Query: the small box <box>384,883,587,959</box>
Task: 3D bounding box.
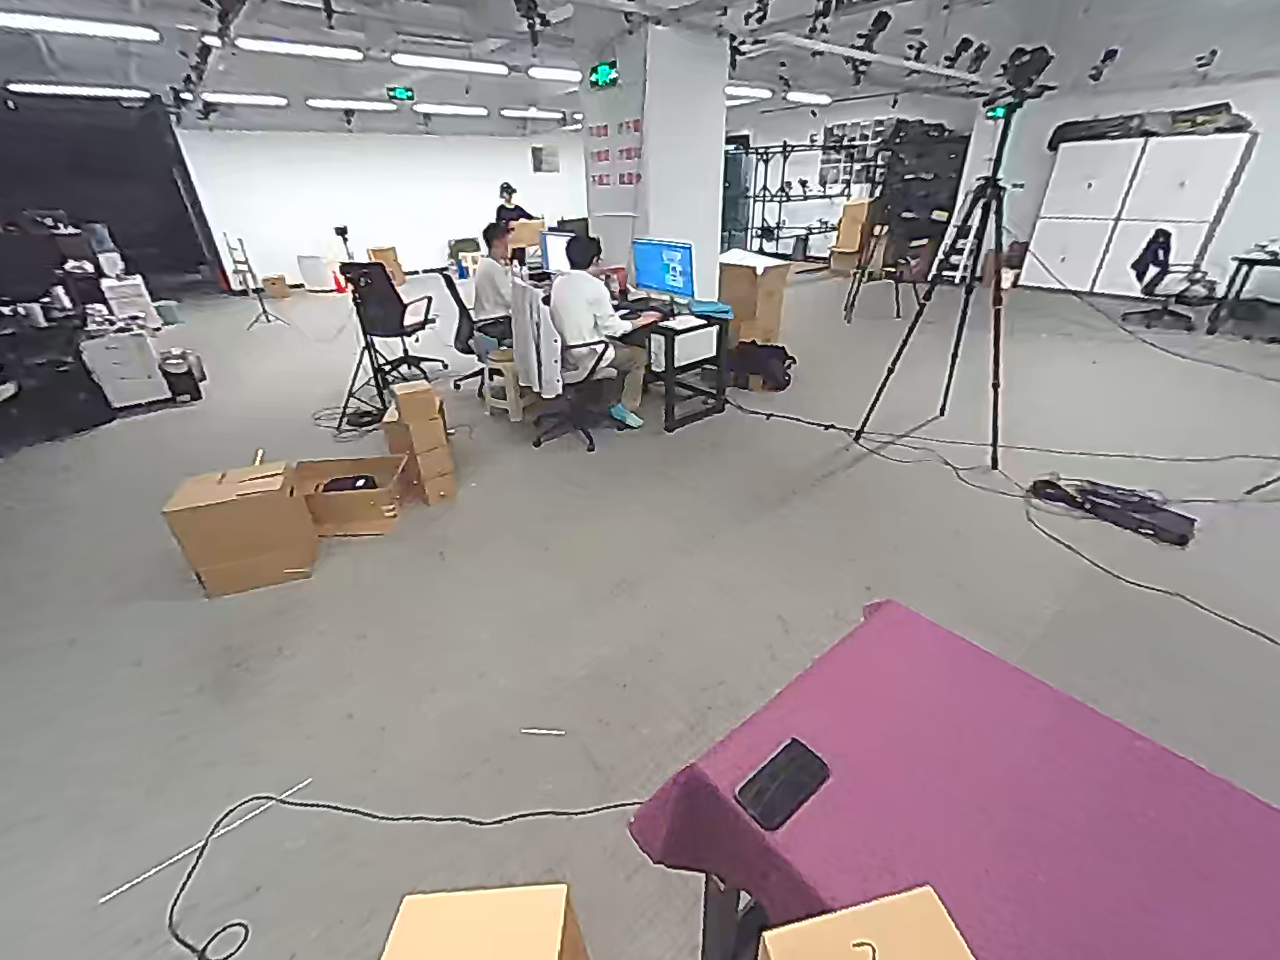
[{"bbox_3d":[-0.140,0.509,0.485,0.168,0.176,0.179,-7,24,4],"label":"small box"}]
